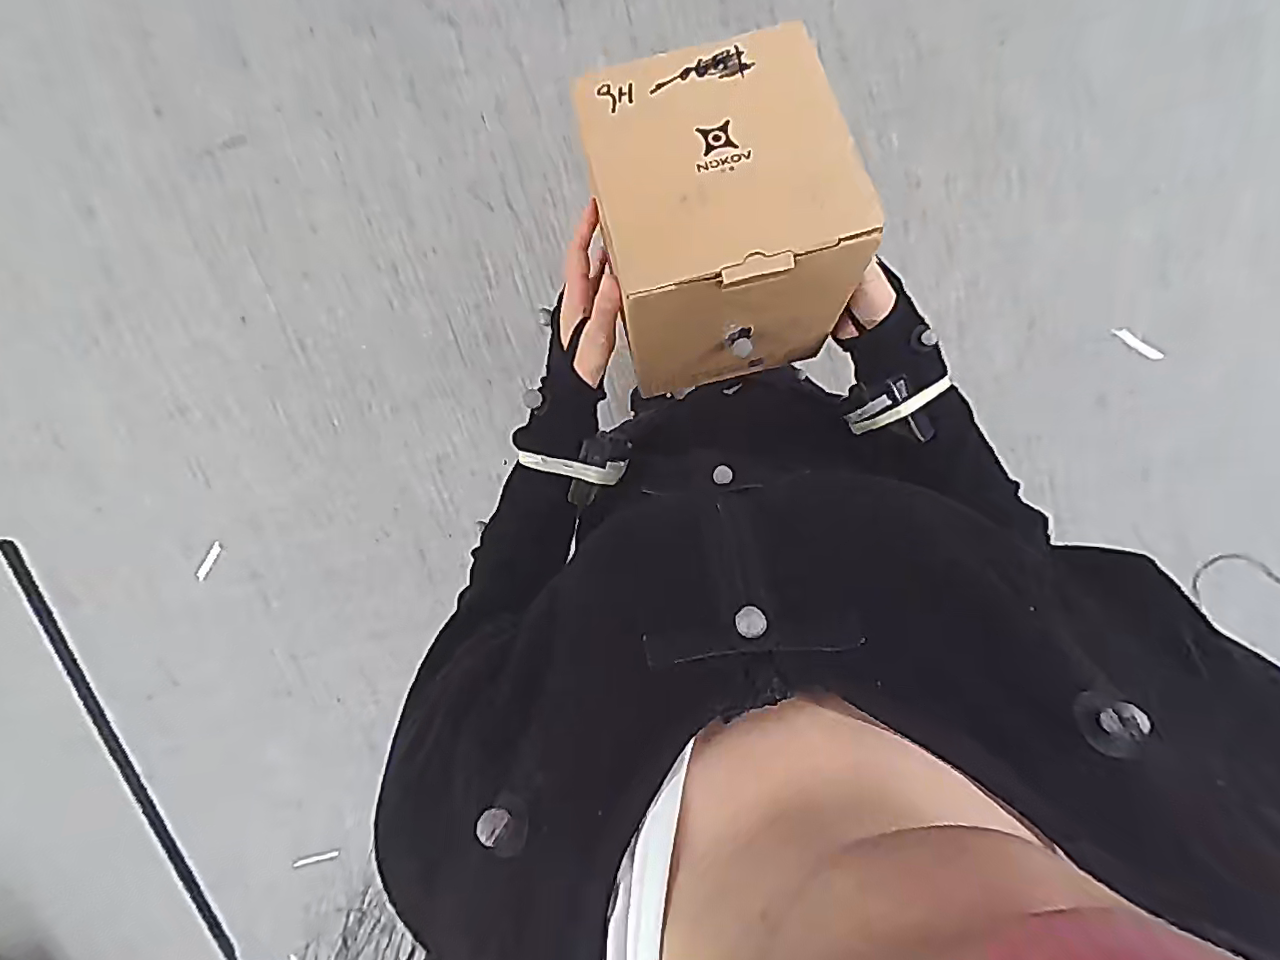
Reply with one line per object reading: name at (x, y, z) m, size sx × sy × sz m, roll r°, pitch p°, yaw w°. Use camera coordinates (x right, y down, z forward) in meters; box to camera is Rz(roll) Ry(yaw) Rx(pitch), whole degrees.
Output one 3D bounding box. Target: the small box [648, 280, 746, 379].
small box at (0.119, -0.322, 1.181) m, size 0.179 × 0.176 × 0.168 m, roll -14°, pitch 103°, yaw 3°
